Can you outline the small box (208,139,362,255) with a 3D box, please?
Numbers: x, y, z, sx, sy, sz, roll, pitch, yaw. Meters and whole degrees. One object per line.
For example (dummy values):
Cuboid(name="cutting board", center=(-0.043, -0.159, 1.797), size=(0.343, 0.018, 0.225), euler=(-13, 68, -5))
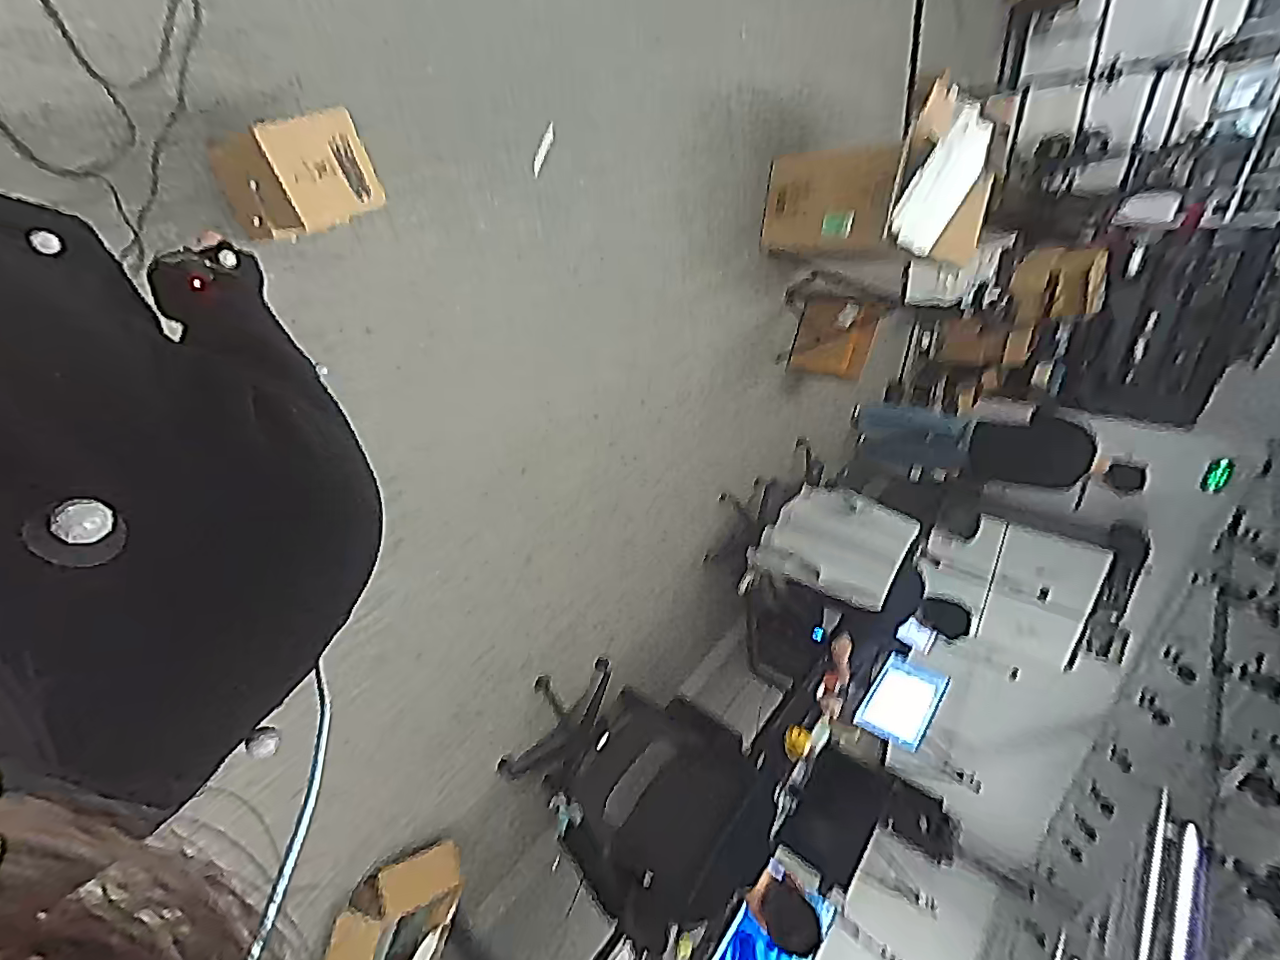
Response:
Cuboid(name="small box", center=(-0.730, -0.592, 1.134), size=(0.168, 0.176, 0.179), euler=(96, 18, -46))
